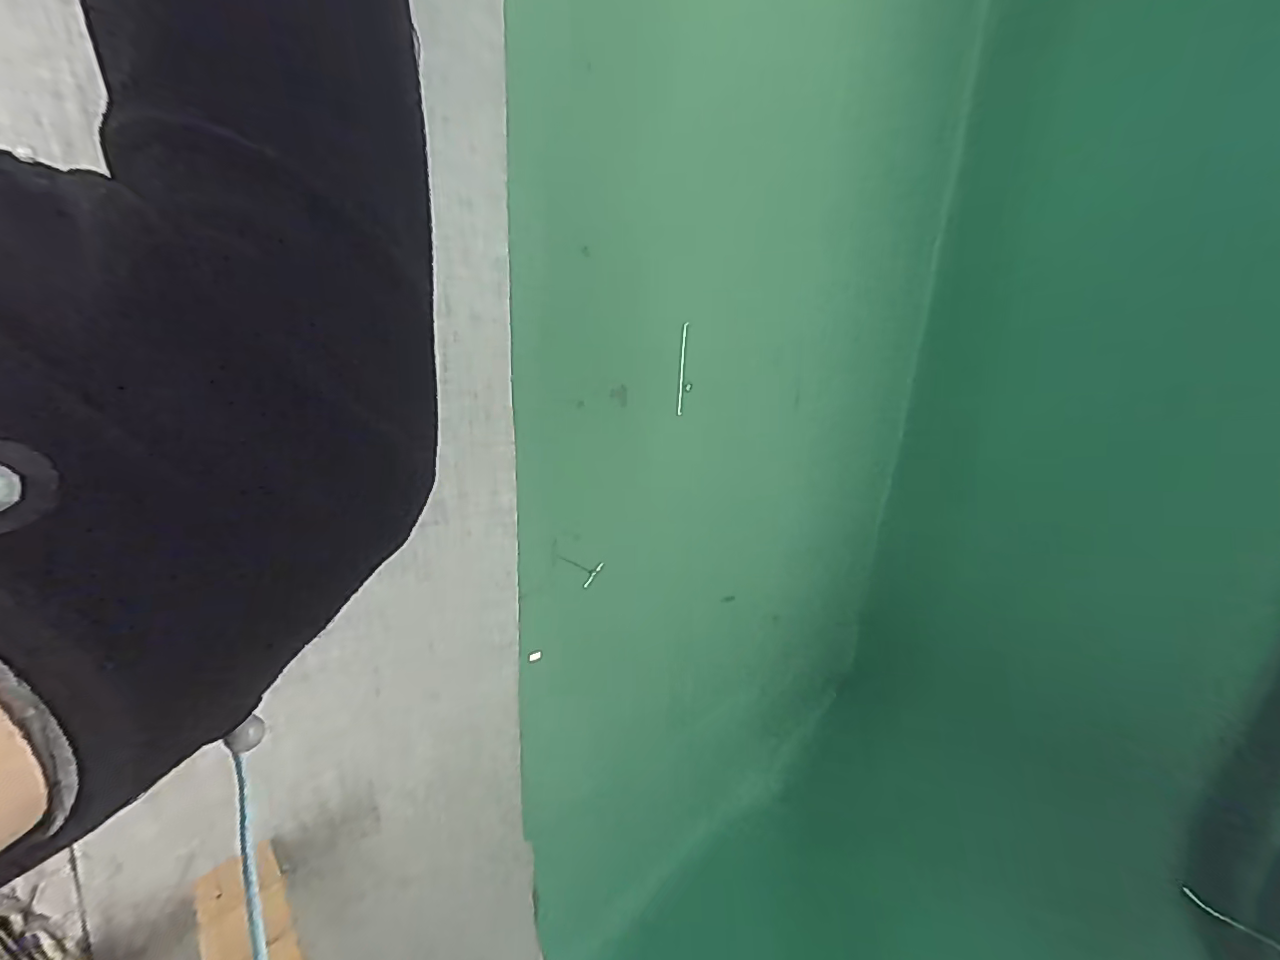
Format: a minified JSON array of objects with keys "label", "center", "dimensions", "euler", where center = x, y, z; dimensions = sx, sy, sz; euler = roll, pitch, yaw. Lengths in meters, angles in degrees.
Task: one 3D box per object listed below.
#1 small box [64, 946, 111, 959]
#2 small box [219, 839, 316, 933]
[{"label":"small box","center":[-1.311,1.218,1.222],"dimensions":[0.168,0.176,0.179],"euler":[-14,113,-41]},{"label":"small box","center":[-1.021,1.146,1.478],"dimensions":[0.179,0.176,0.168],"euler":[-21,119,-39]}]
